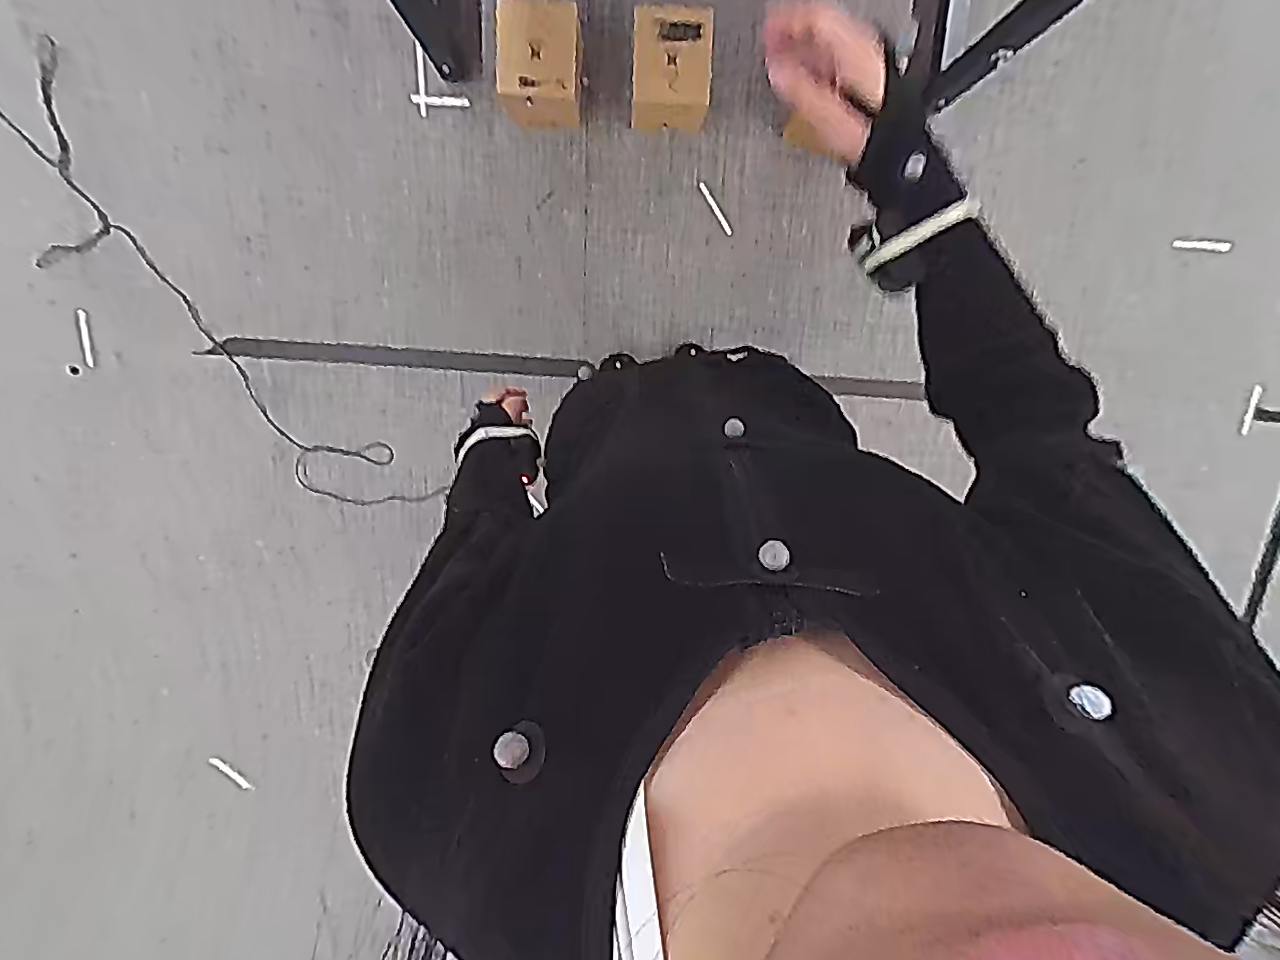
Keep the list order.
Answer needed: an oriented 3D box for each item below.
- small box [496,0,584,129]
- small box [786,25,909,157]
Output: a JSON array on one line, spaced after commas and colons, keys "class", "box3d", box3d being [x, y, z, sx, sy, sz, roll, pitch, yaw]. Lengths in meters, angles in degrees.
[{"class": "small box", "box3d": [-0.214, -0.912, 1.190, 0.168, 0.176, 0.179, 4, 102, -3]}, {"class": "small box", "box3d": [0.457, -0.862, 1.222, 0.179, 0.176, 0.168, 19, 103, -5]}]
